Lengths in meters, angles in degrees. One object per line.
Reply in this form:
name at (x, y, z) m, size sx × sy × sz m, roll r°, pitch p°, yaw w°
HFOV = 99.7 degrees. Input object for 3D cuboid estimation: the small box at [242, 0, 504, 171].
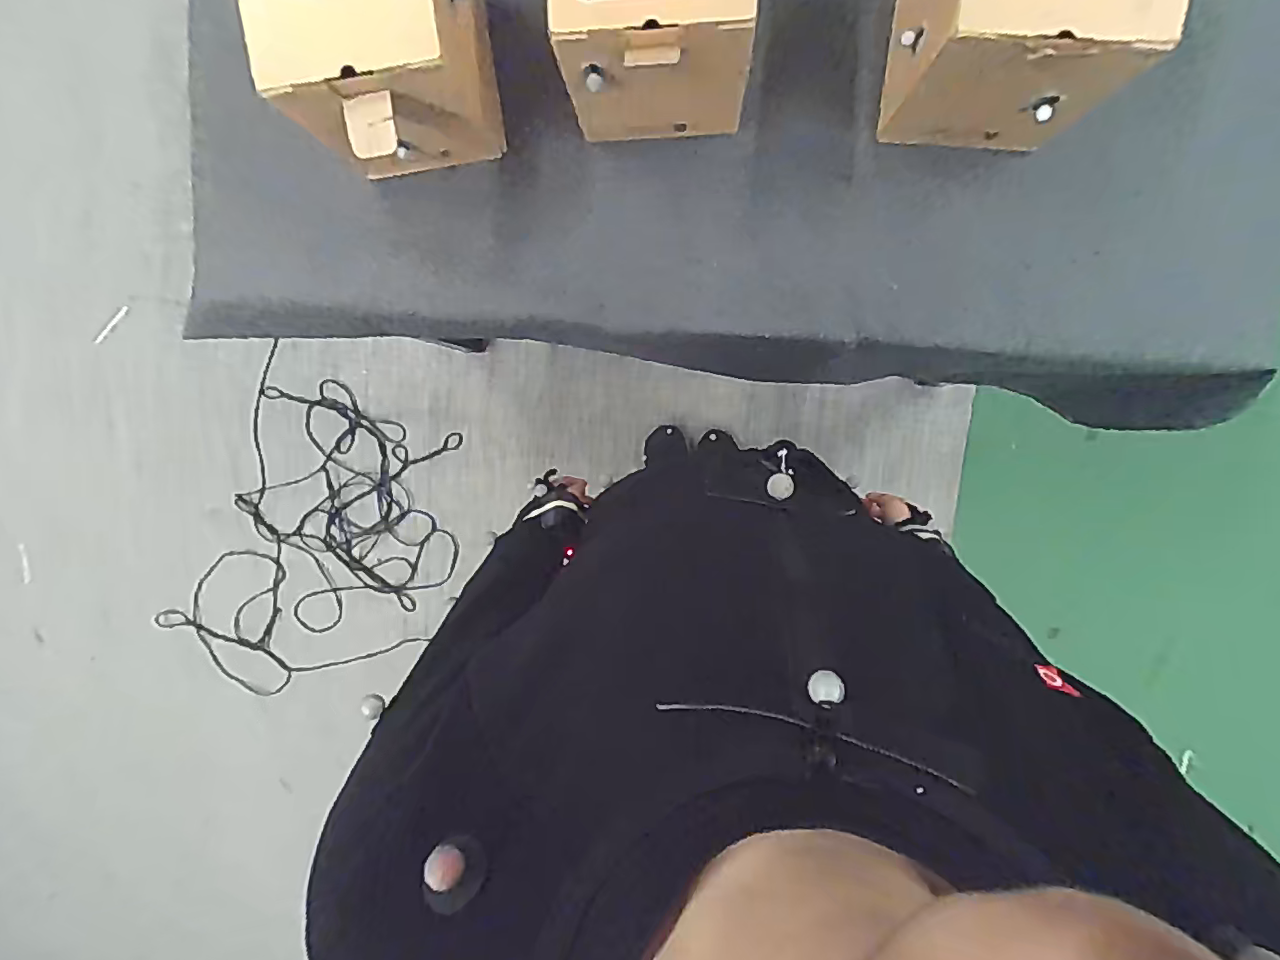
small box at (-0.242, -0.430, 0.514) m, size 0.168 × 0.176 × 0.179 m, roll -7°, pitch 97°, yaw 5°

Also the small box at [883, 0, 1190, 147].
small box at (0.333, -0.424, 0.475) m, size 0.168 × 0.176 × 0.179 m, roll 6°, pitch 96°, yaw 2°
